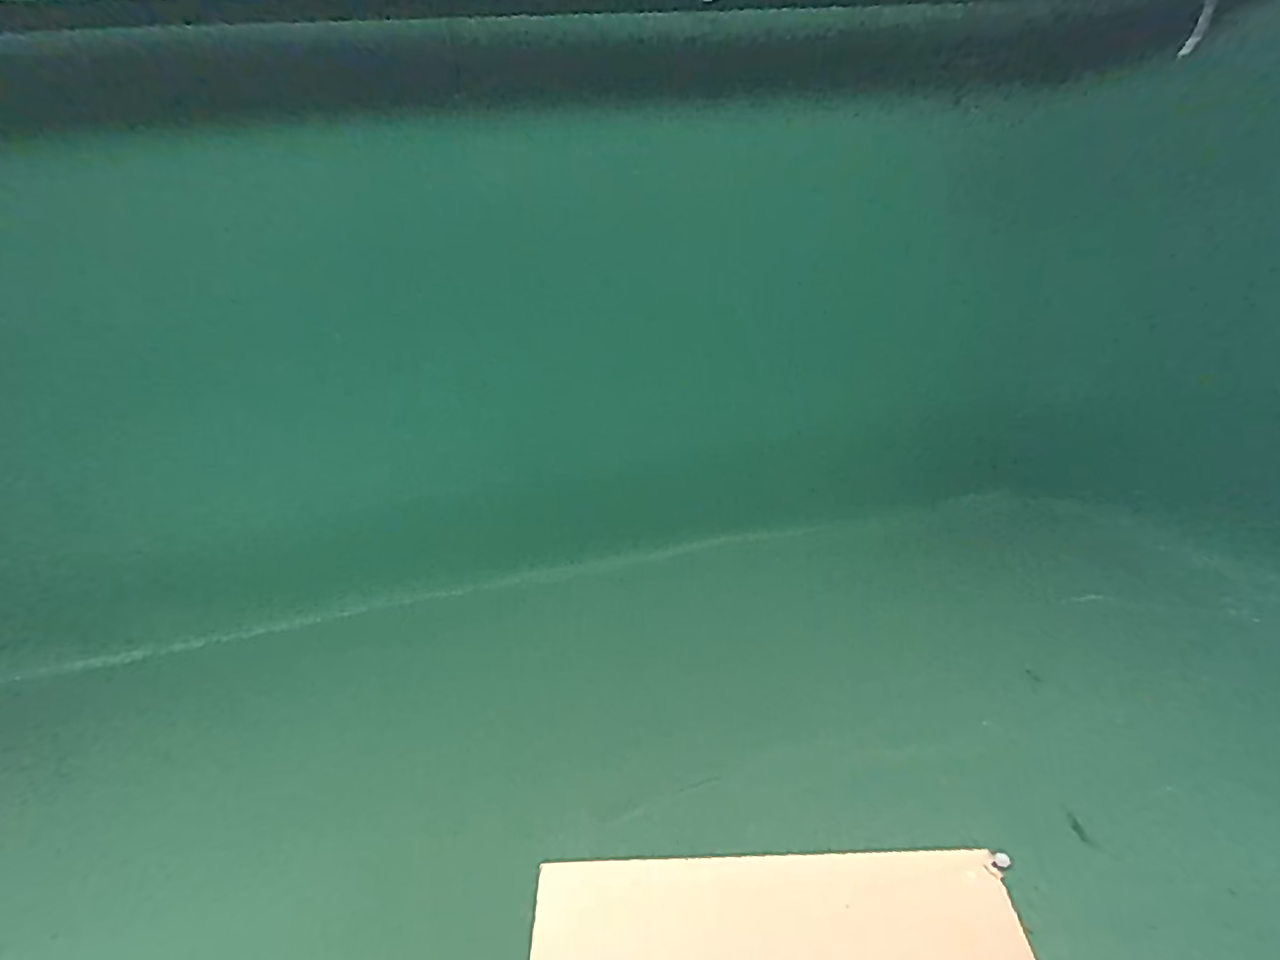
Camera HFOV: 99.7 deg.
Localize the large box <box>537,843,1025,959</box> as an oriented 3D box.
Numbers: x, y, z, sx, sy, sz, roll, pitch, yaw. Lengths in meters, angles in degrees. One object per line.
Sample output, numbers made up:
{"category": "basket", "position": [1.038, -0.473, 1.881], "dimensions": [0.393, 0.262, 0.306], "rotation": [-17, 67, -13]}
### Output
{"category": "large box", "position": [0.121, 0.559, 0.482], "dimensions": [0.408, 0.320, 0.320], "rotation": [-3, 42, 2]}
